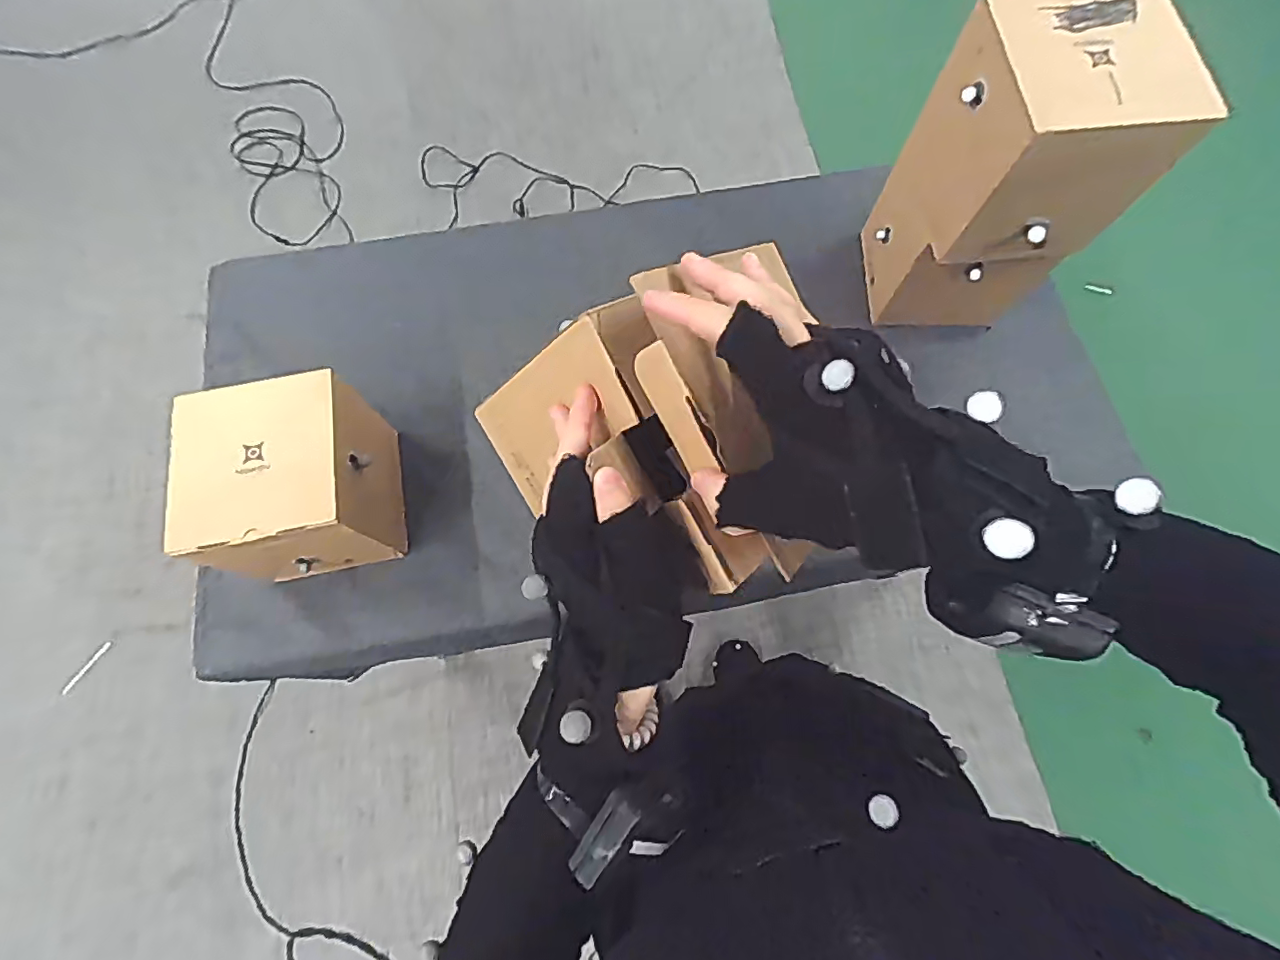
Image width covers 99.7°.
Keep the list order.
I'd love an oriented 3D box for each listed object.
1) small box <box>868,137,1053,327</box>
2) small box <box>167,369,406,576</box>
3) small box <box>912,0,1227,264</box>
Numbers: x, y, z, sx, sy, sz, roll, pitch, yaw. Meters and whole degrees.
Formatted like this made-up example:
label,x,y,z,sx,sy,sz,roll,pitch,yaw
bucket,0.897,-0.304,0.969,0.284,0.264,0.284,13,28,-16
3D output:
label,x,y,z,sx,sy,sz,roll,pitch,yaw
small box,0.418,-0.319,0.717,0.179,0.176,0.168,2,73,1
small box,-0.388,0.000,0.624,0.168,0.176,0.179,-11,72,-4
small box,0.409,-0.352,0.556,0.168,0.176,0.179,-4,73,0
